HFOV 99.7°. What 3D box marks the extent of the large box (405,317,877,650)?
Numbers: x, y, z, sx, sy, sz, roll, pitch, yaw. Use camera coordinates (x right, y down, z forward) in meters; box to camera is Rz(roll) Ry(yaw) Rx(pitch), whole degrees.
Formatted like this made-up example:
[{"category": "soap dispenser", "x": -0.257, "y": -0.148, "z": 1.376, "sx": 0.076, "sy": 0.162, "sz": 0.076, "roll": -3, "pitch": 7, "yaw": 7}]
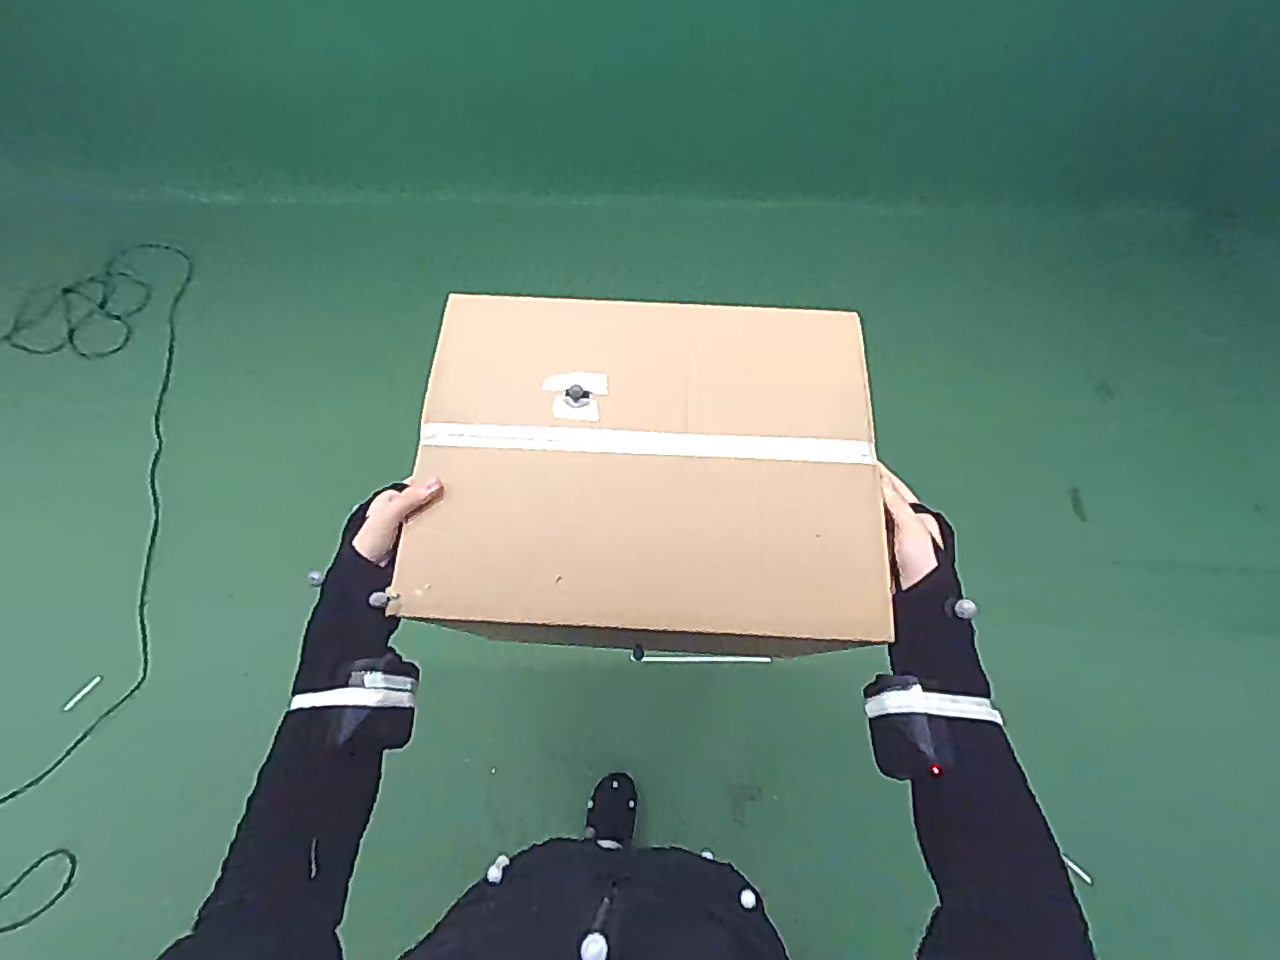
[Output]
[{"category": "large box", "x": 0.008, "y": 0.031, "z": 0.640, "sx": 0.408, "sy": 0.320, "sz": 0.320, "roll": 3, "pitch": 69, "yaw": 2}]
